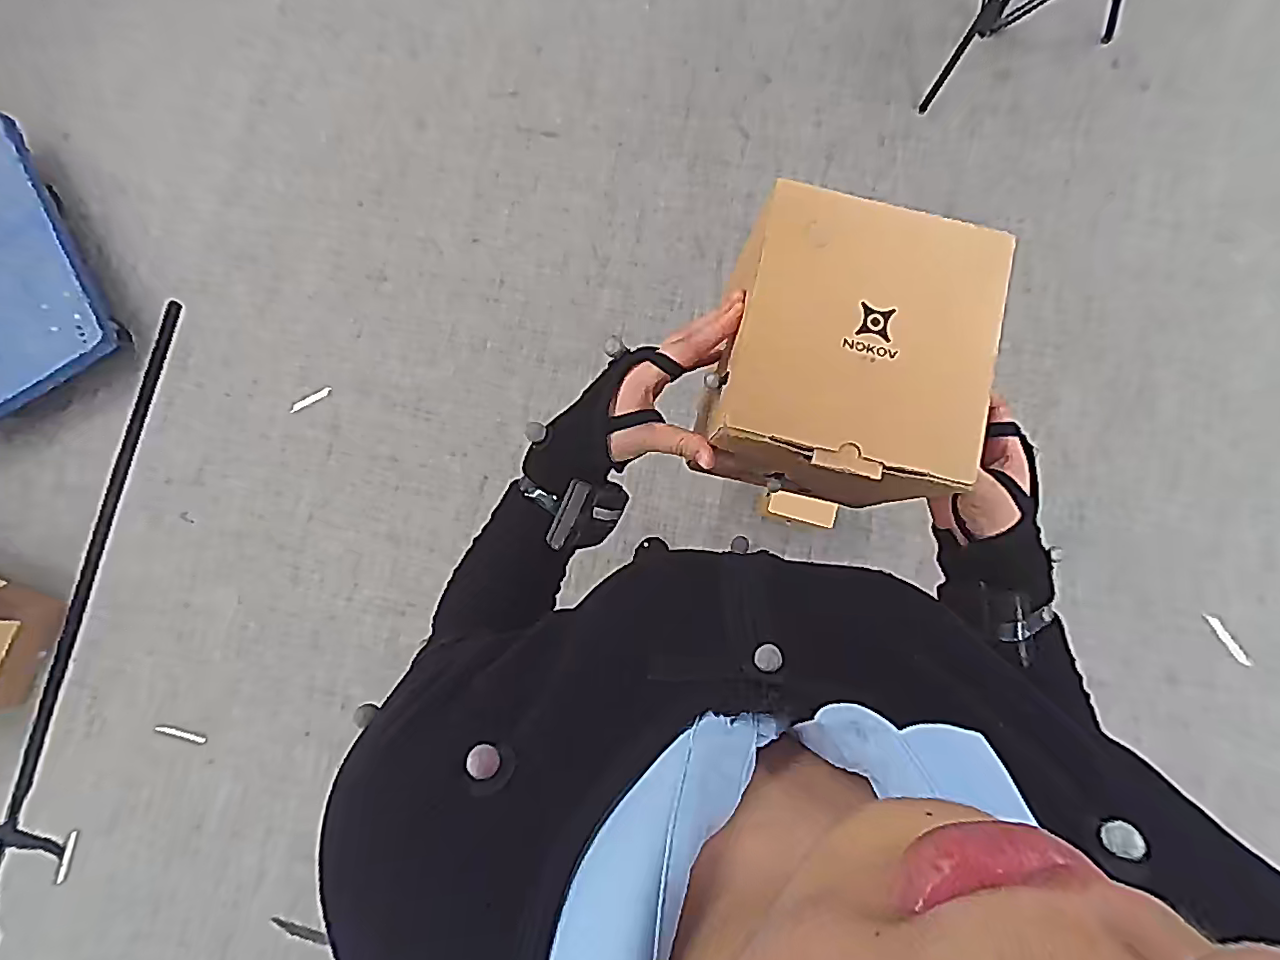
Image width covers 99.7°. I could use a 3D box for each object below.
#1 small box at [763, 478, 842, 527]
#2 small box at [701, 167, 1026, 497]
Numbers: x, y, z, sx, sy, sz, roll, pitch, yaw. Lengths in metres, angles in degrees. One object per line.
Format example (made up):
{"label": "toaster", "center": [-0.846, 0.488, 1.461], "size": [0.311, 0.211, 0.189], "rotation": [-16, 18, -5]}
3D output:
{"label": "small box", "center": [0.430, 0.021, 1.423], "size": [0.168, 0.176, 0.179], "rotation": [16, 84, 5]}
{"label": "small box", "center": [0.150, -0.092, 0.419], "size": [0.168, 0.176, 0.179], "rotation": [13, 84, 0]}
